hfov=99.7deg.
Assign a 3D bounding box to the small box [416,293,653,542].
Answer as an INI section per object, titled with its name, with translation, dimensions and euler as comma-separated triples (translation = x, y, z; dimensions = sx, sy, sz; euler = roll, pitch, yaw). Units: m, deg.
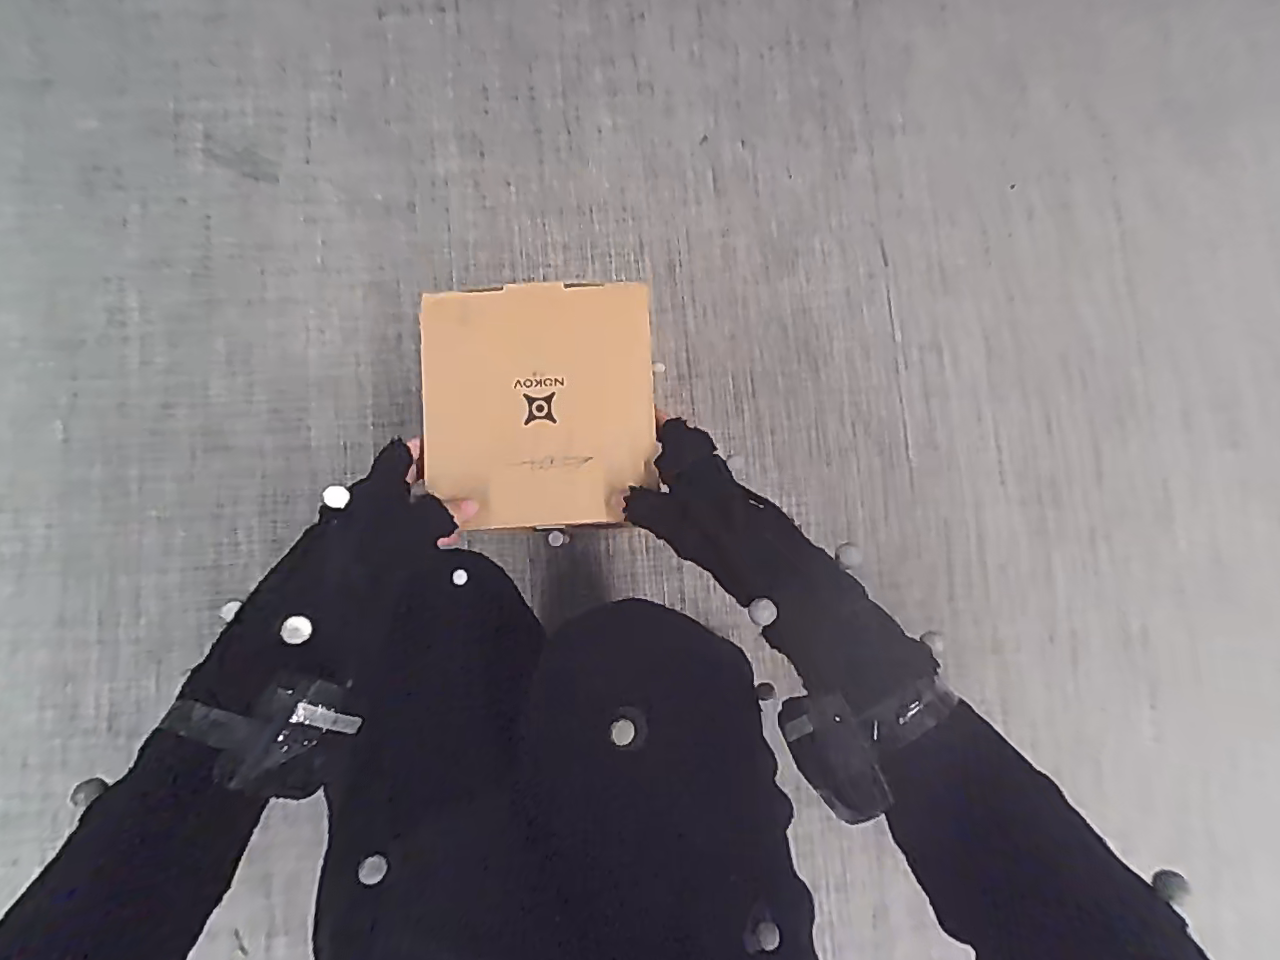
[small box]
translation = -0.077, -0.039, 0.463
dimensions = 0.168, 0.176, 0.179
euler = -3, 84, 0
